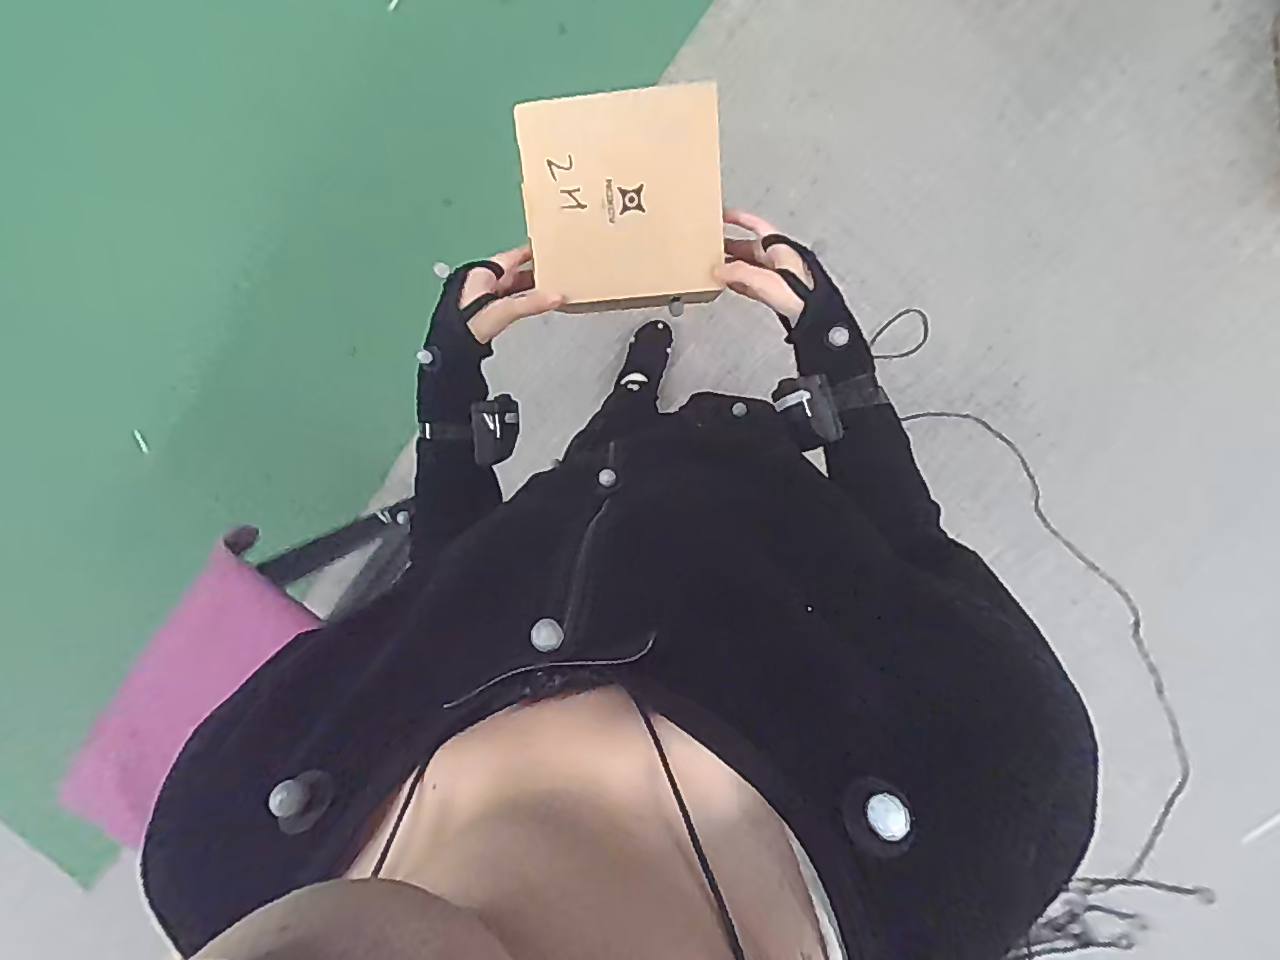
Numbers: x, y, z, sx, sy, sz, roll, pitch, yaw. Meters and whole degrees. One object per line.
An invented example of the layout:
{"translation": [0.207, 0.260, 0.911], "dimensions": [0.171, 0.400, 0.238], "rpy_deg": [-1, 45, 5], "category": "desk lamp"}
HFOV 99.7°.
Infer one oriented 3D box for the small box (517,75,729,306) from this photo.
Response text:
{"translation": [-0.008, -0.268, 0.540], "dimensions": [0.179, 0.176, 0.168], "rpy_deg": [-3, 104, 5], "category": "small box"}
